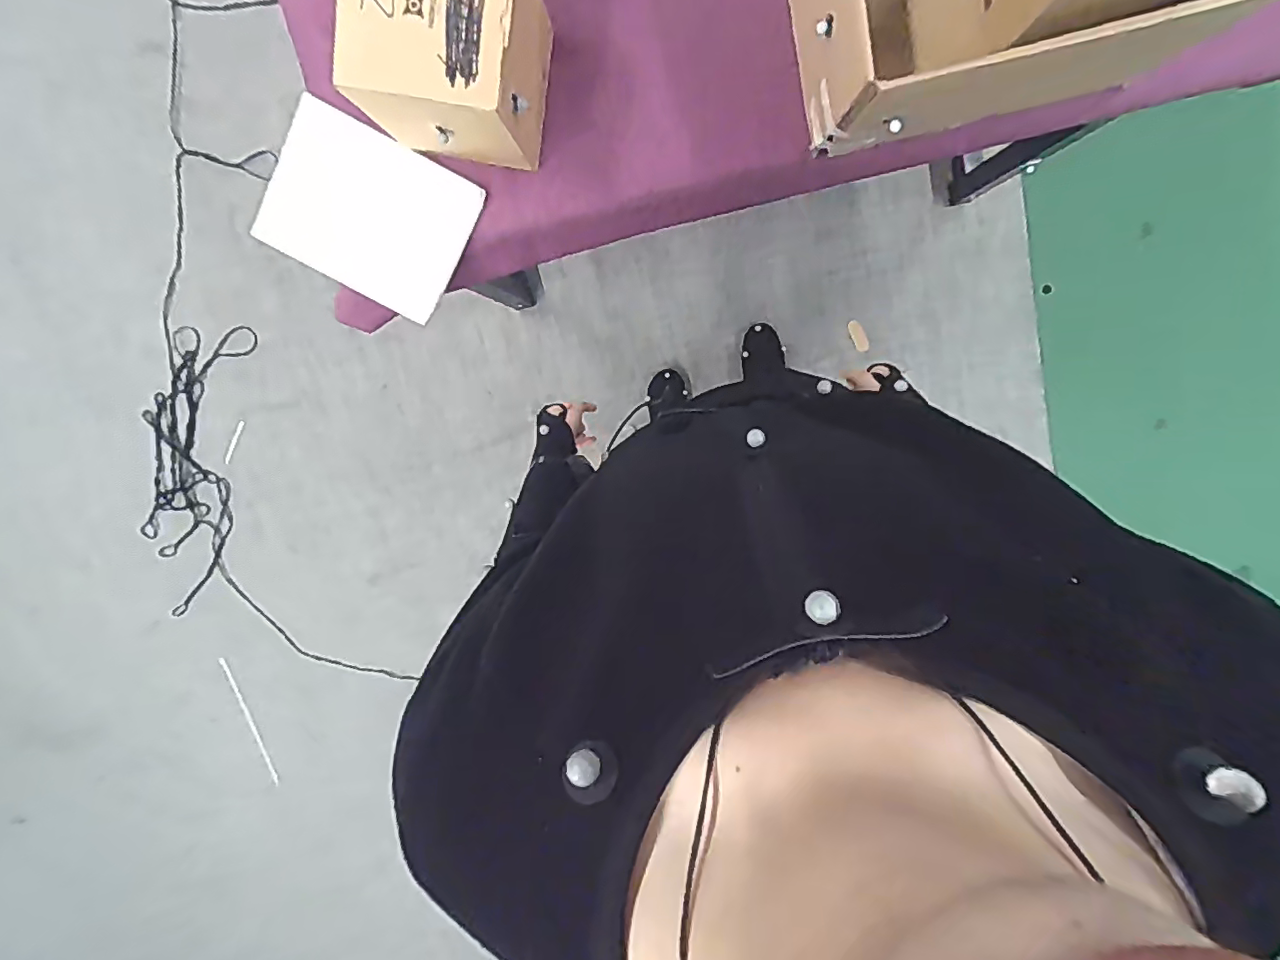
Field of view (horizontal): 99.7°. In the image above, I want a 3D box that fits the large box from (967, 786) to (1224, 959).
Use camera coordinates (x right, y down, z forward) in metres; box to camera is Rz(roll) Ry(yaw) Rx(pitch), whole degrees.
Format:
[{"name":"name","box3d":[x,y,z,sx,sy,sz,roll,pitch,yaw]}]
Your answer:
[{"name":"large box","box3d":[1.238,1.157,1.512,0.408,0.320,0.320,-27,98,6]}]
